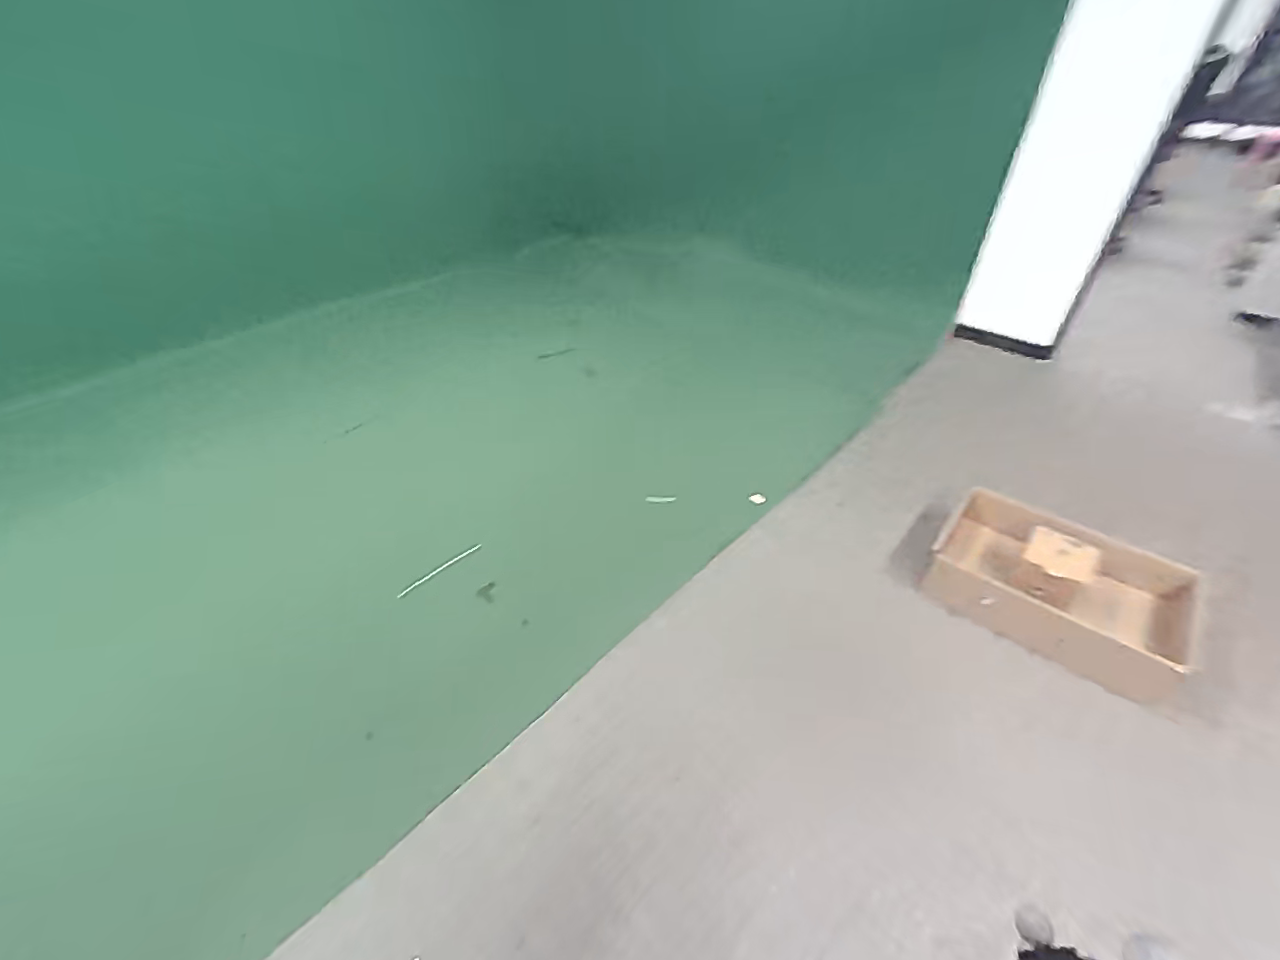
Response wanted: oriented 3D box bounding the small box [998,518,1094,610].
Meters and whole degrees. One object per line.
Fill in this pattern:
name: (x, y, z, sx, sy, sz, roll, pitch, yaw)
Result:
small box: (1.211, 0.255, 1.624, 0.168, 0.176, 0.179, 30, 51, 31)
